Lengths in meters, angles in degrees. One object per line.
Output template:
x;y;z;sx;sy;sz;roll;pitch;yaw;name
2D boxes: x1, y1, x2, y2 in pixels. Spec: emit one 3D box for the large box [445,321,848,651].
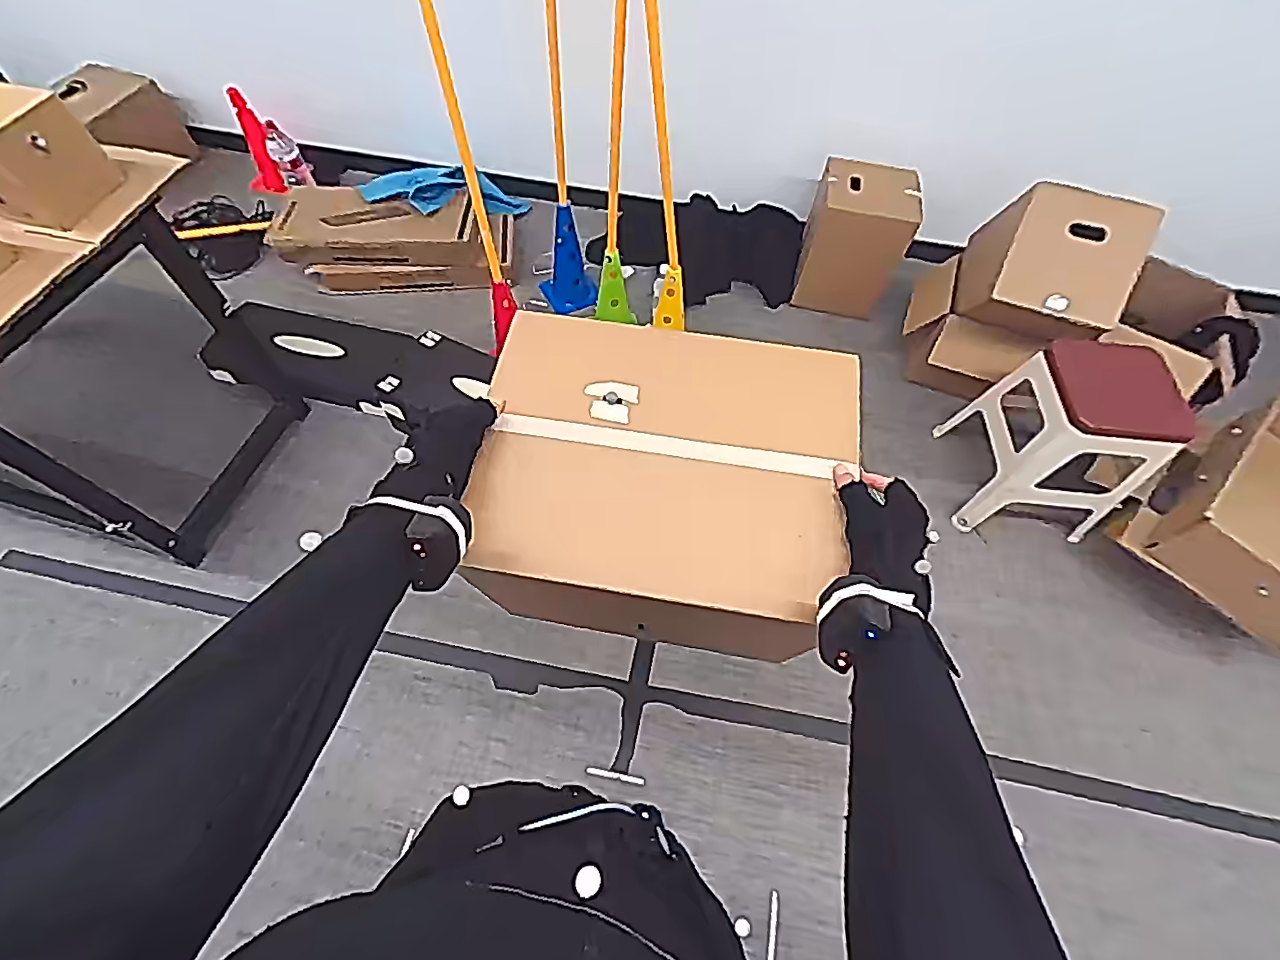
0.027;0.029;0.720;0.408;0.320;0.320;9;66;5;large box
